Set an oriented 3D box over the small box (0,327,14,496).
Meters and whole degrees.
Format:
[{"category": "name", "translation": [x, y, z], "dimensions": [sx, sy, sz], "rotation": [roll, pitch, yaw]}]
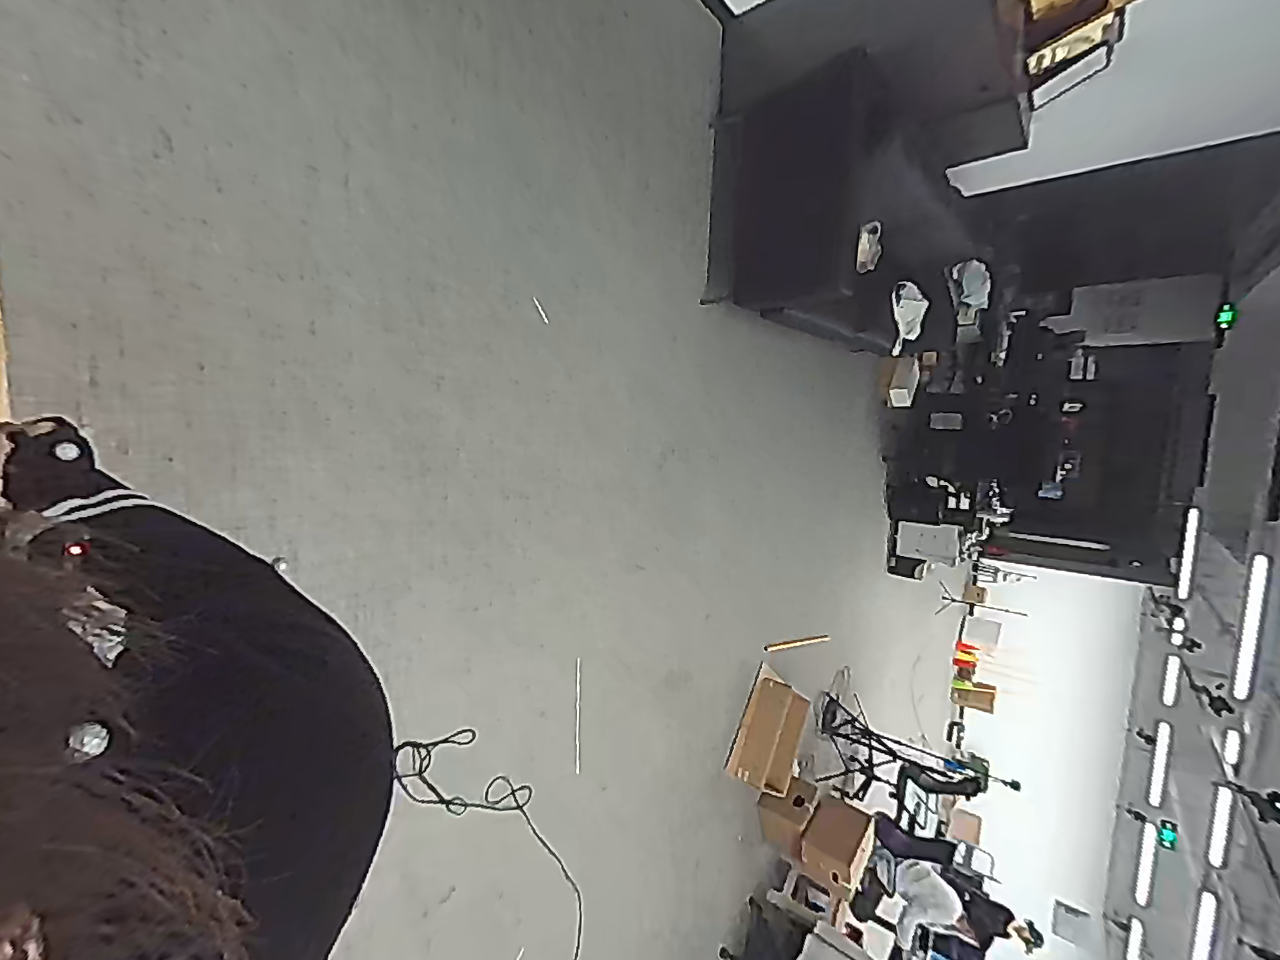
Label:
[{"category": "small box", "translation": [-0.719, -0.050, 0.504], "dimensions": [0.168, 0.176, 0.179], "rotation": [4, 72, -53]}]
